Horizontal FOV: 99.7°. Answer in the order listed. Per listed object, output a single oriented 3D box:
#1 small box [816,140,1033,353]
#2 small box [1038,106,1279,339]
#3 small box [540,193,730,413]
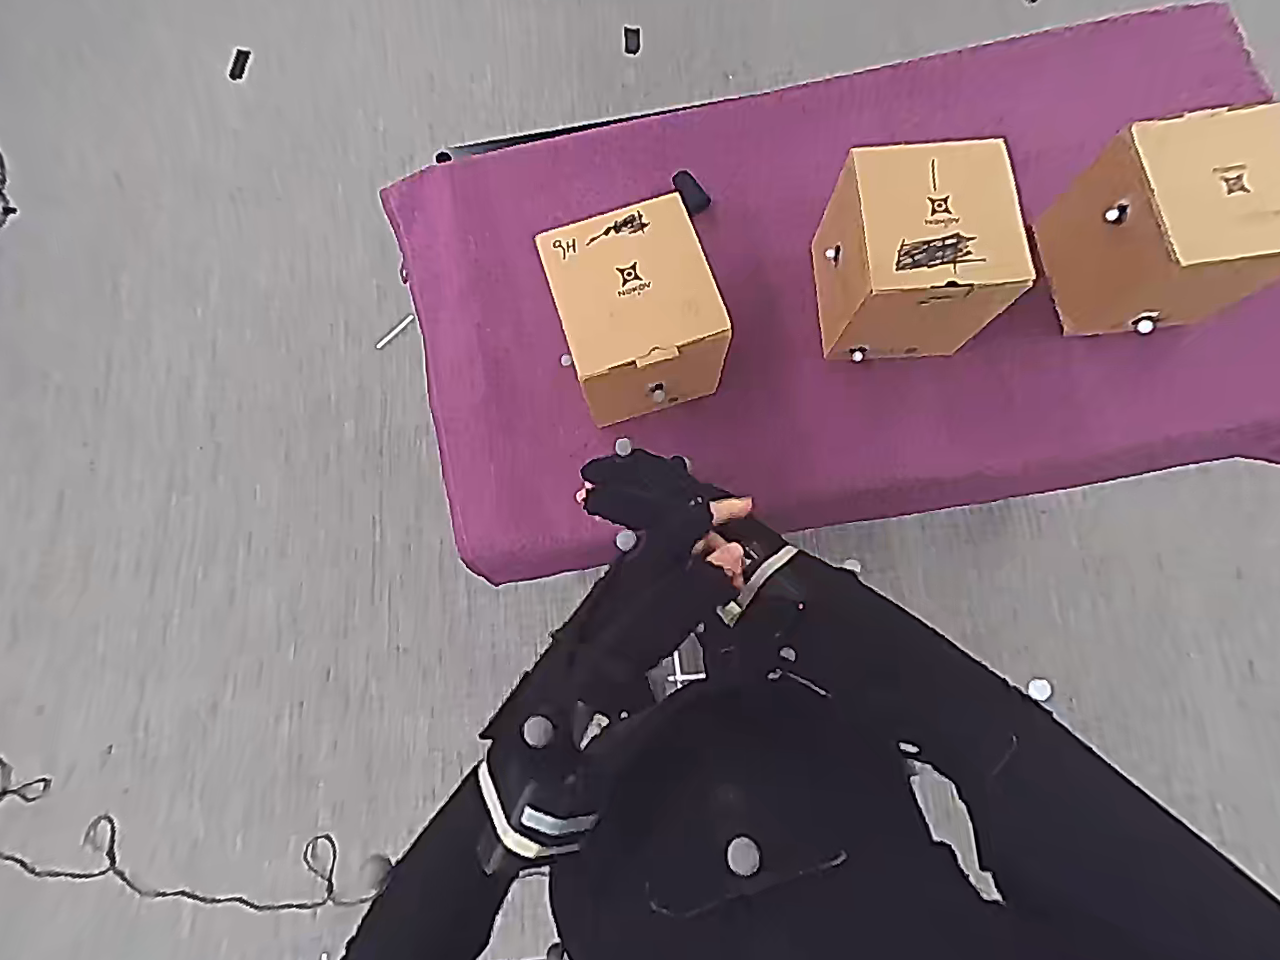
[{"bbox_3d":[0.319,-0.263,0.647,0.168,0.176,0.179,-2,76,2],"label":"small box"},{"bbox_3d":[0.620,-0.291,0.641,0.168,0.176,0.179,-7,78,3],"label":"small box"},{"bbox_3d":[-0.004,-0.192,0.645,0.168,0.176,0.179,-17,78,-2],"label":"small box"}]
